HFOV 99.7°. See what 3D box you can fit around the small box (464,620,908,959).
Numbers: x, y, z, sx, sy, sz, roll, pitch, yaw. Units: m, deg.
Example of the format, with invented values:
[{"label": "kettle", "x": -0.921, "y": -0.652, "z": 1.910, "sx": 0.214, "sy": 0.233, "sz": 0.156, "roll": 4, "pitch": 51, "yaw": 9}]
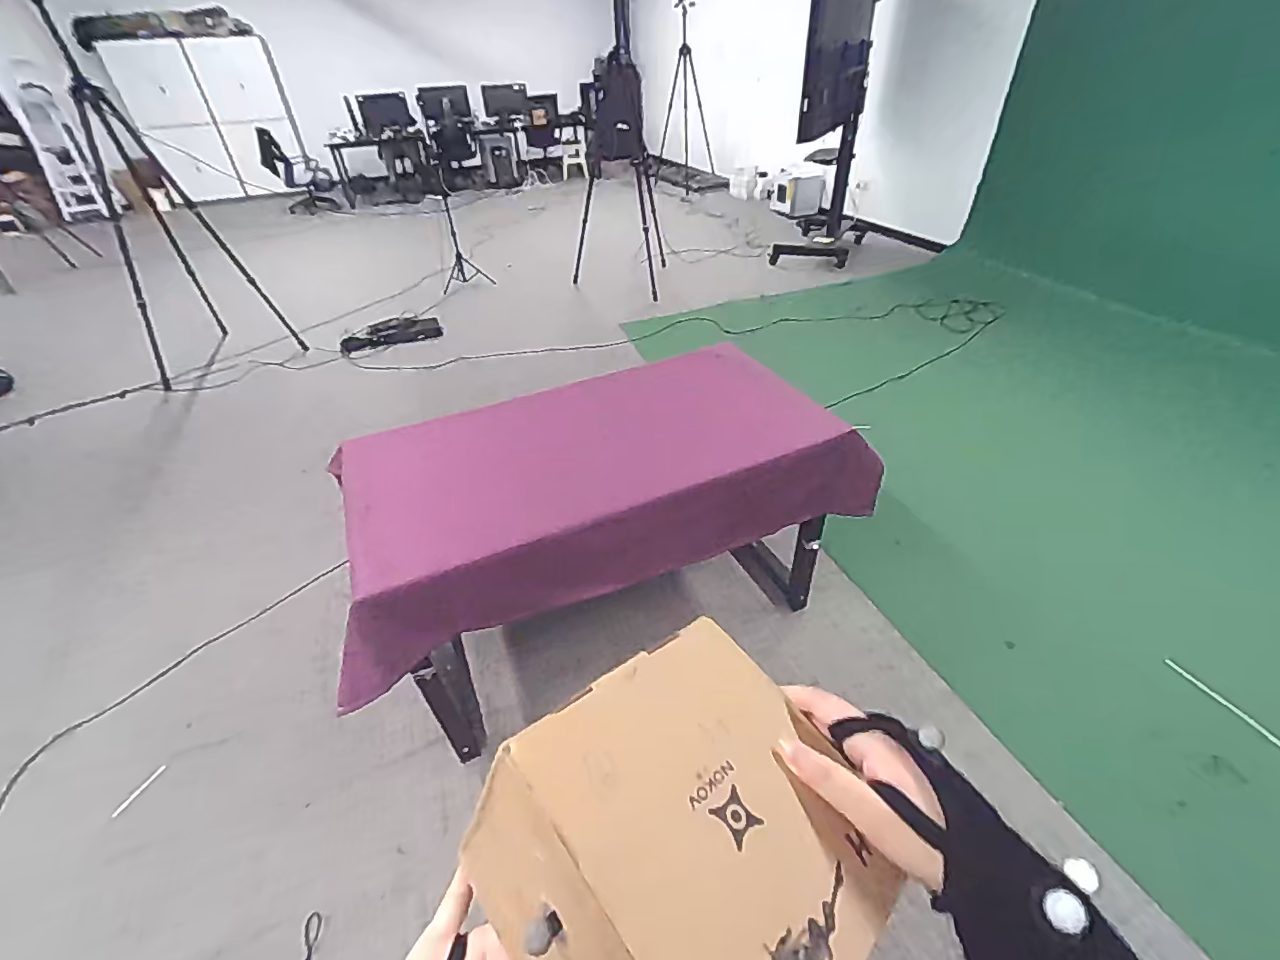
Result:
[{"label": "small box", "x": 0.013, "y": 0.227, "z": 0.330, "sx": 0.168, "sy": 0.176, "sz": 0.179, "roll": -19, "pitch": 55, "yaw": -43}]
